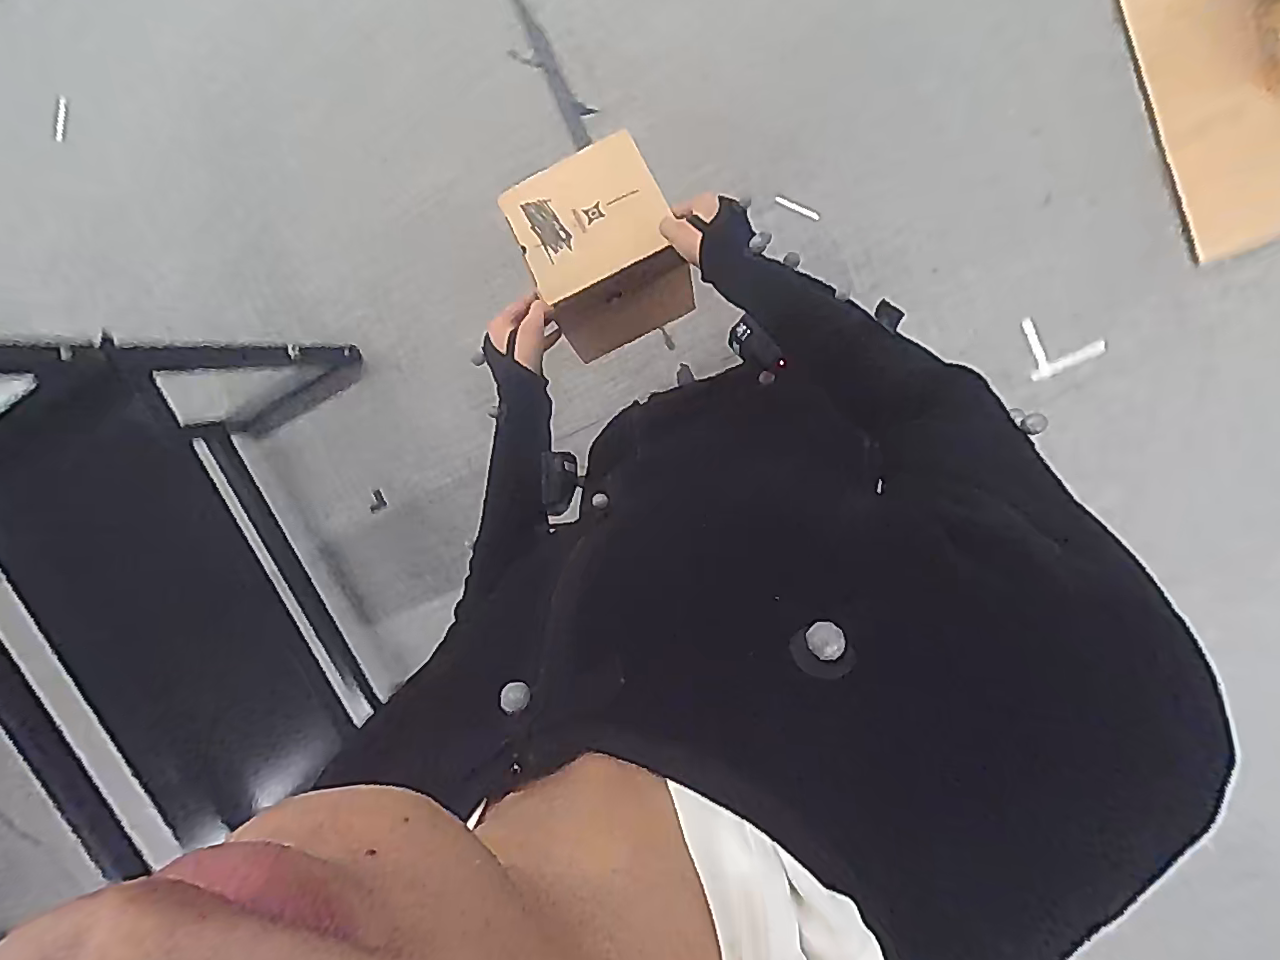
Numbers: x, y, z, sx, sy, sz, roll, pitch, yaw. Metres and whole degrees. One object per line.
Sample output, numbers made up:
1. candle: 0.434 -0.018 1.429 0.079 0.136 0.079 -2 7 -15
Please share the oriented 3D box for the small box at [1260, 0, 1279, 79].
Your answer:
1. small box: 1.409 -0.947 1.064 0.179 0.176 0.168 -20 99 14
